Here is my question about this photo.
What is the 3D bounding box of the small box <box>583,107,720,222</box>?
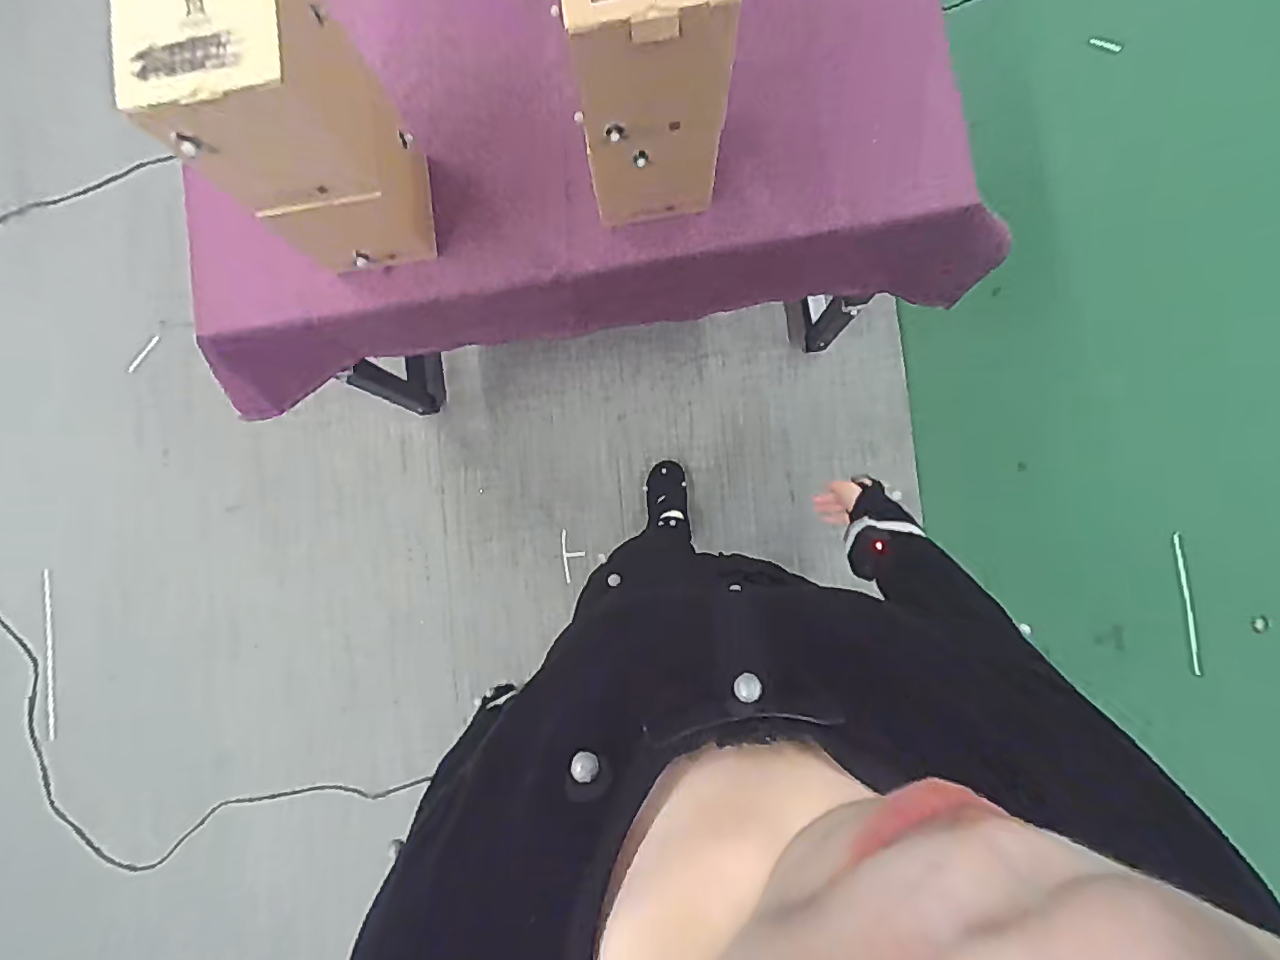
[{"bbox_3d":[0.011,-0.492,0.743,0.168,0.176,0.179,-9,85,4],"label":"small box"}]

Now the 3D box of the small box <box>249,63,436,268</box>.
[{"bbox_3d":[-0.404,-0.427,0.759,0.168,0.176,0.179,-7,87,3],"label":"small box"}]

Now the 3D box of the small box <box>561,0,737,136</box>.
[{"bbox_3d":[0.004,-0.504,0.579,0.168,0.176,0.179,-9,85,2],"label":"small box"}]
